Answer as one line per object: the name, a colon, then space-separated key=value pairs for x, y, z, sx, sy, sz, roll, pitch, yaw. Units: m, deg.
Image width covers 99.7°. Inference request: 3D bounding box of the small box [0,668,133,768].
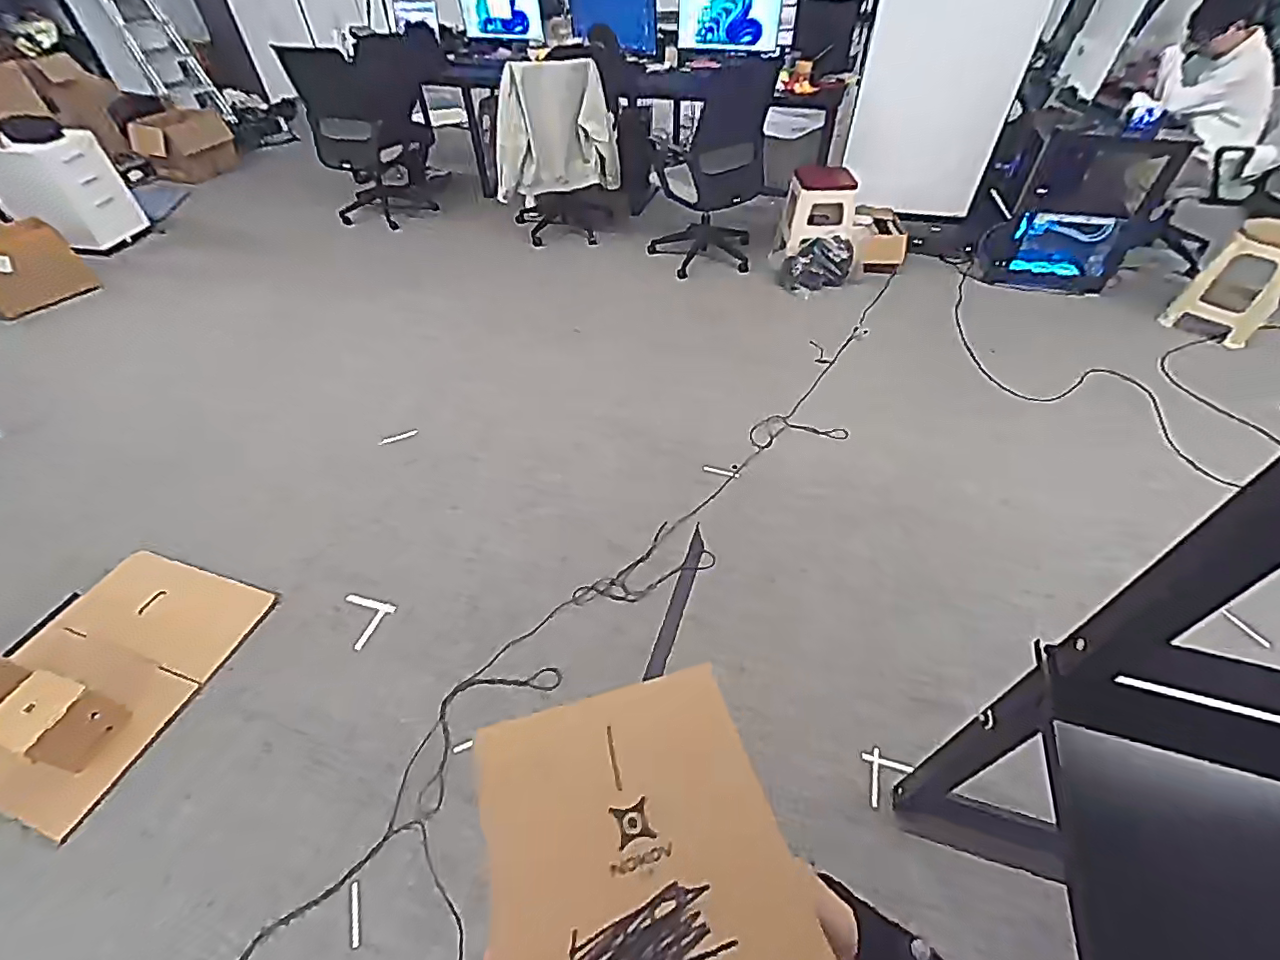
small box: x=-1.476 y=0.612 z=1.380 sx=0.179 sy=0.176 sz=0.168 roll=11 pitch=48 yaw=12
